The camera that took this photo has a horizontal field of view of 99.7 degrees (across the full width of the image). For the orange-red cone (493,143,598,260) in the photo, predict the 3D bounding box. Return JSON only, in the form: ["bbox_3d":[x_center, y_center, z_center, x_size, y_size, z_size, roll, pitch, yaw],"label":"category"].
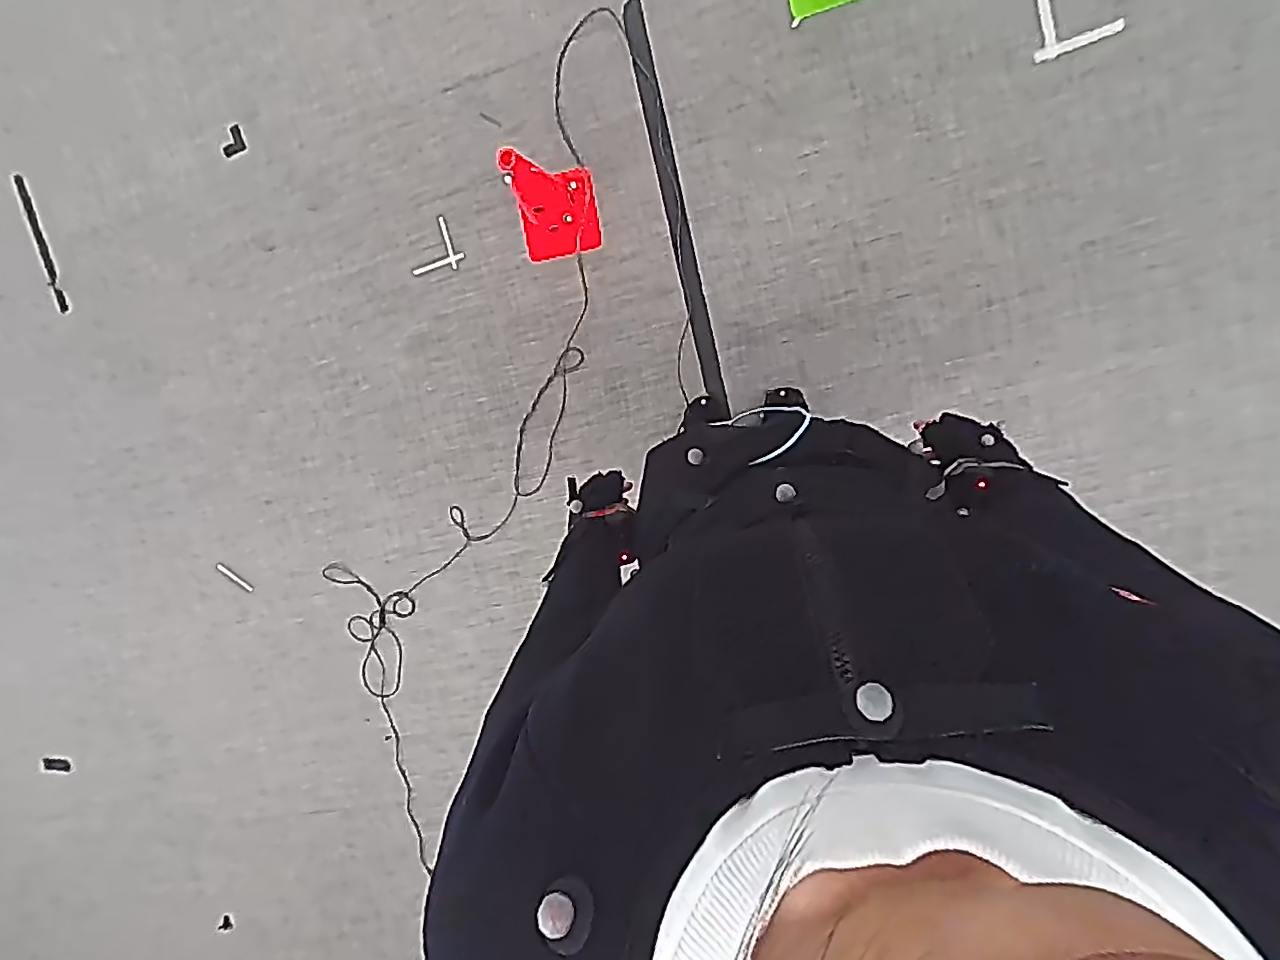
[{"bbox_3d":[-0.239,-0.648,1.204,0.199,0.360,0.198,-8,97,11],"label":"orange-red cone"}]

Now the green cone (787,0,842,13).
[{"bbox_3d":[0.391,-1.132,1.025,0.202,0.368,0.200,-13,98,9],"label":"green cone"}]
